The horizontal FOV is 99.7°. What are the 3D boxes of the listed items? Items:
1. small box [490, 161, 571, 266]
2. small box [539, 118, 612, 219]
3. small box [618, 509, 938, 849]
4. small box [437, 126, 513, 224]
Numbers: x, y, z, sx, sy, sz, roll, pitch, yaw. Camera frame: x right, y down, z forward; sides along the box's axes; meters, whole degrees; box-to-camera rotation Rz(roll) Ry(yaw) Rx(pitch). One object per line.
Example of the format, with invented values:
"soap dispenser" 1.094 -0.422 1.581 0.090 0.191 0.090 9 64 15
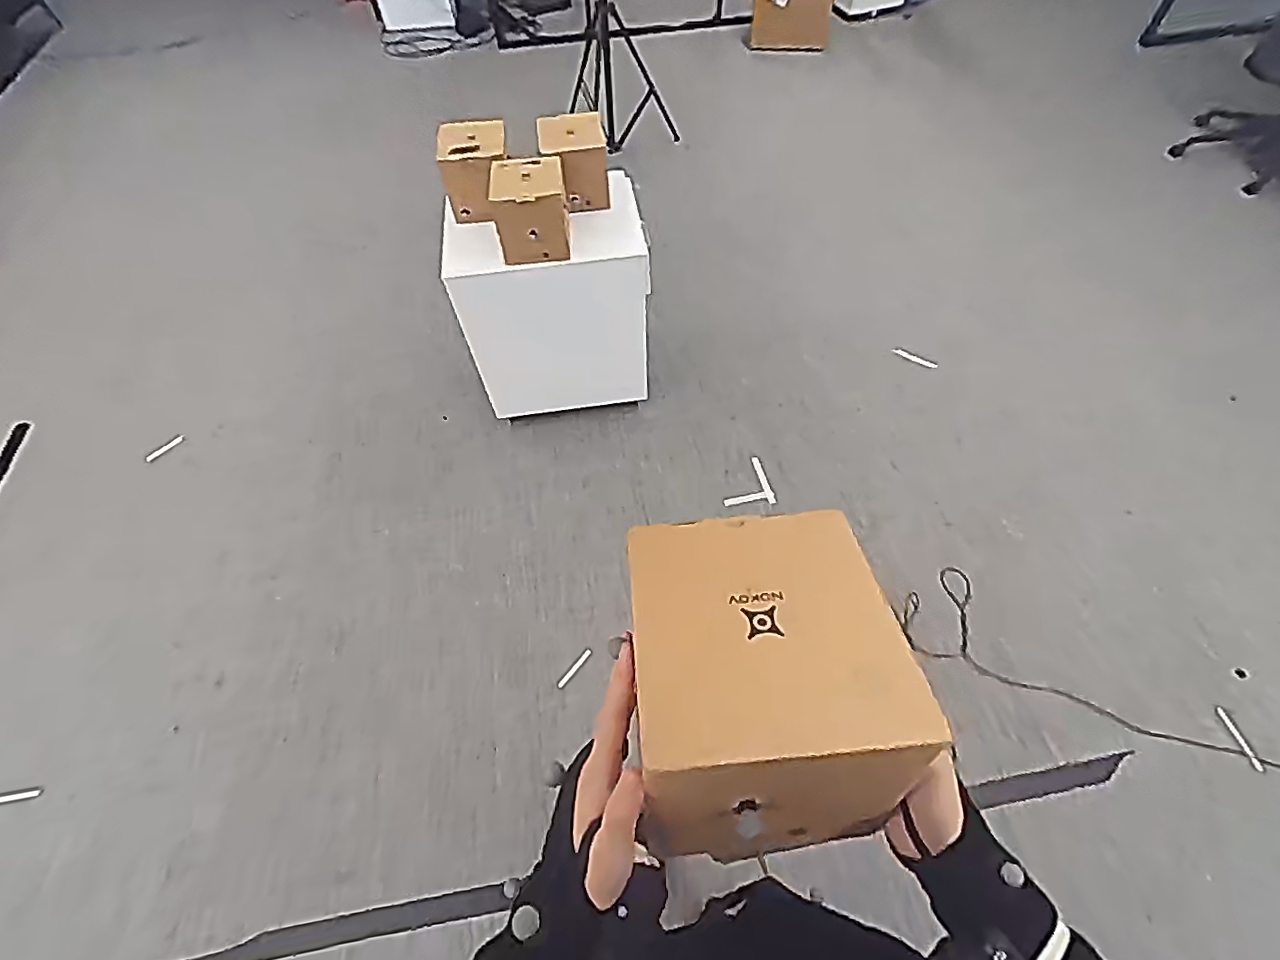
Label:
"small box" -0.262 -0.645 1.325 0.168 0.176 0.179 -6 58 -3
"small box" -0.170 -0.824 1.436 0.168 0.176 0.179 -9 60 -2
"small box" 0.076 0.147 0.397 0.168 0.176 0.179 -5 41 -2
"small box" -0.418 -0.793 1.420 0.168 0.176 0.179 -7 58 -3
